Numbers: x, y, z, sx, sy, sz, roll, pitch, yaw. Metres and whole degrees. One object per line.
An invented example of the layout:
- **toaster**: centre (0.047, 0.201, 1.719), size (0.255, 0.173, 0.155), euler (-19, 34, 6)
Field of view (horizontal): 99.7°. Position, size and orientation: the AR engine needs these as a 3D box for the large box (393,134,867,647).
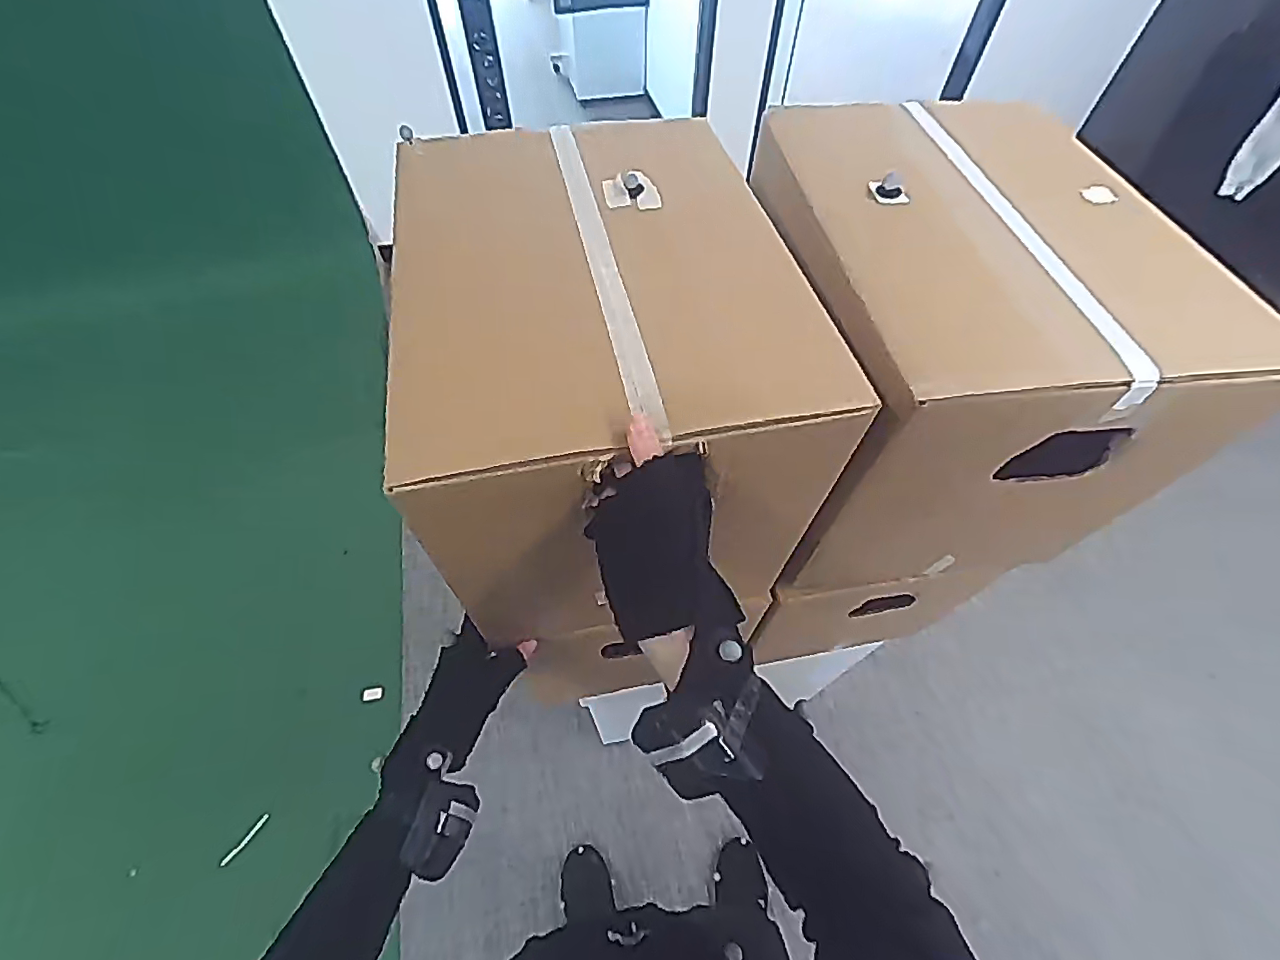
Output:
- **large box**: centre (-0.044, -0.095, 0.564), size (0.320, 0.320, 0.408), euler (-10, 56, -10)
